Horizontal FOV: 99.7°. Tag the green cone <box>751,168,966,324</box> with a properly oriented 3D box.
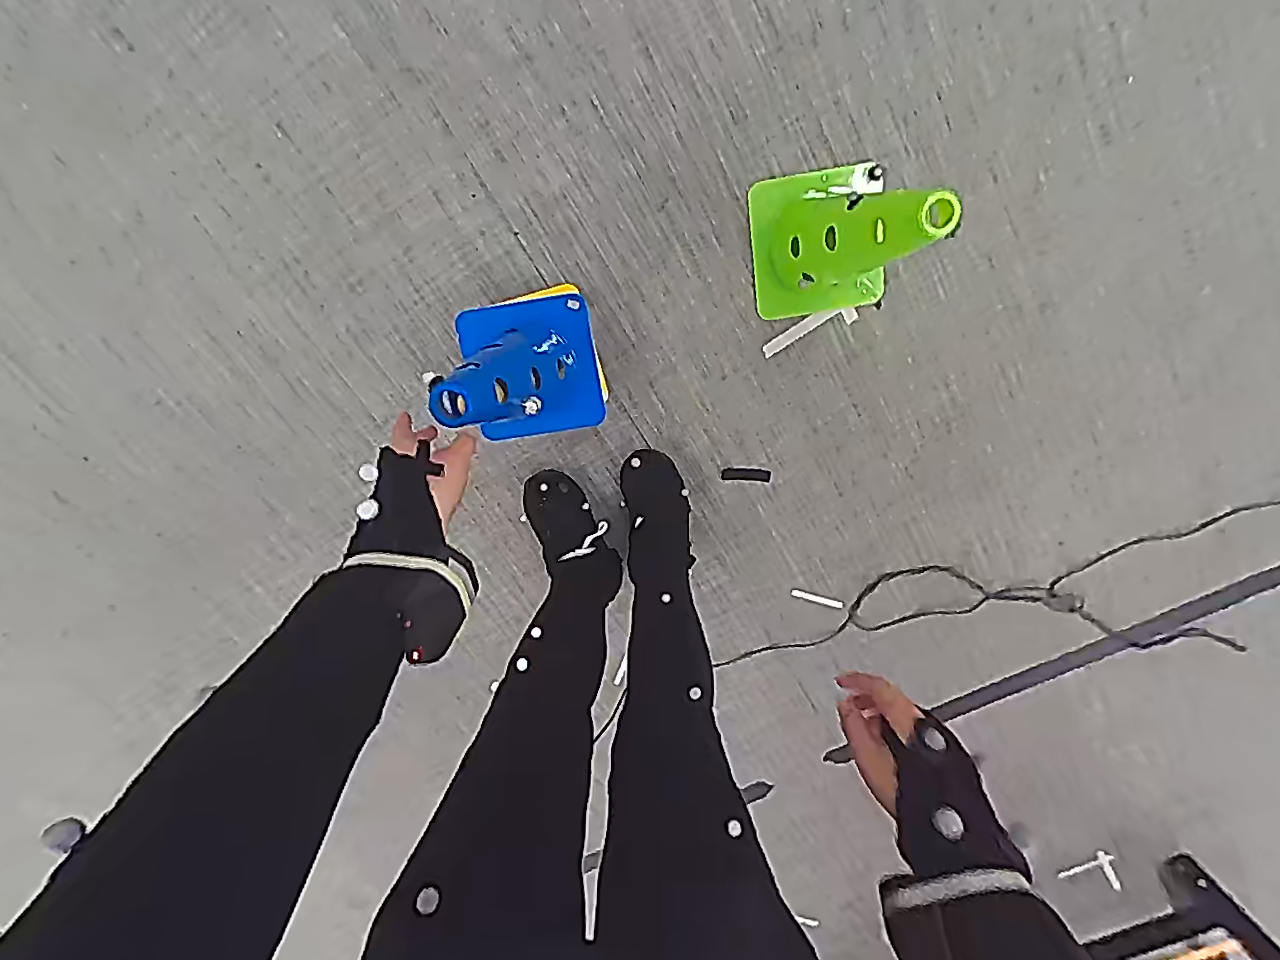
[{"bbox_3d":[0.274,-0.294,0.663,0.200,0.368,0.202,-9,110,3],"label":"green cone"}]
